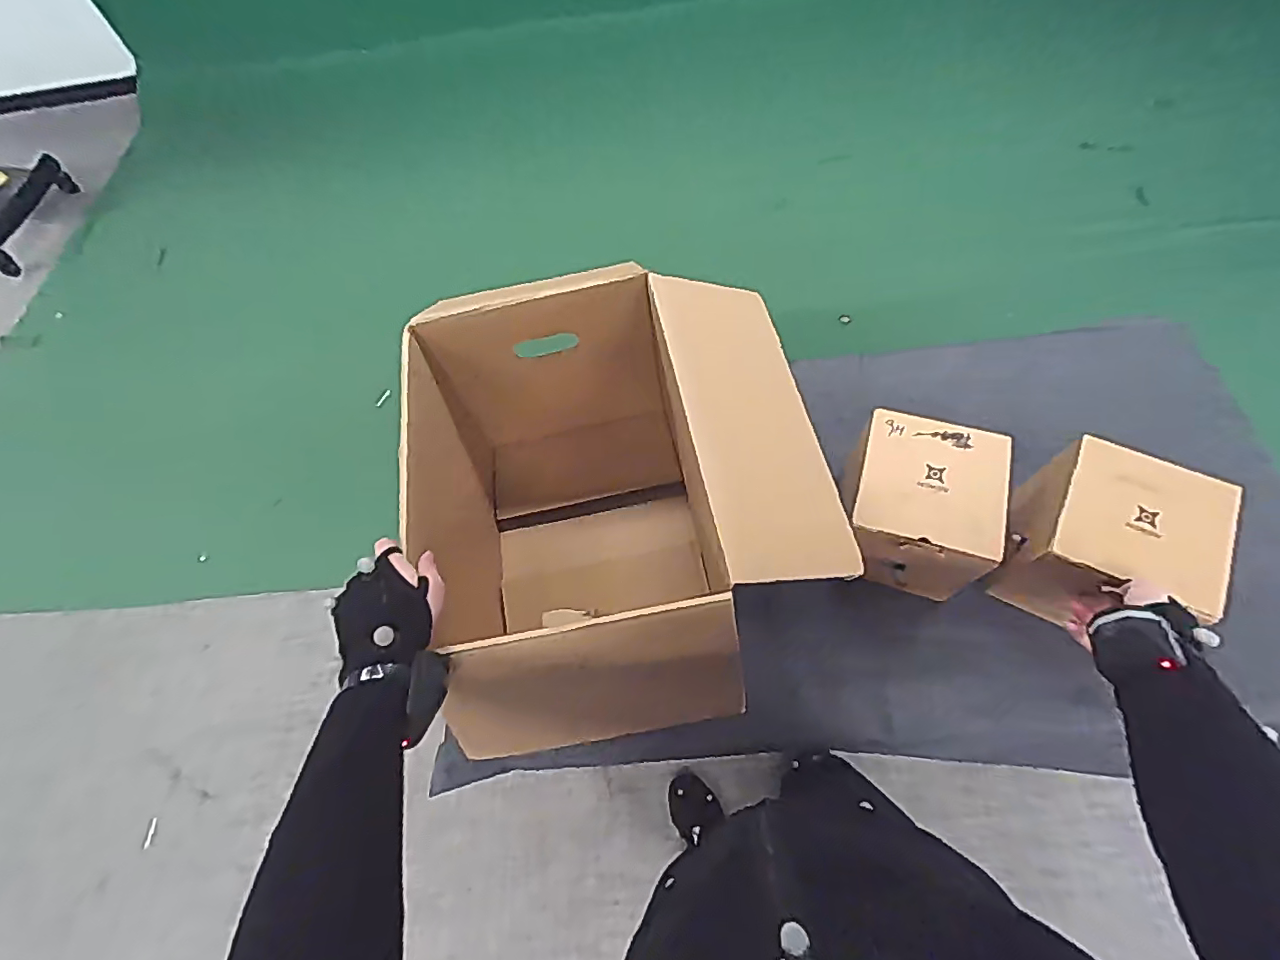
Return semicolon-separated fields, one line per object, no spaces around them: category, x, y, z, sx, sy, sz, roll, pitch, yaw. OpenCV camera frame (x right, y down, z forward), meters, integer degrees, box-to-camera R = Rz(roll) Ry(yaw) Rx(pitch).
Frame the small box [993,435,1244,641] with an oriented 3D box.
small box;0.583;0.081;0.682;0.168;0.176;0.179;25;69;17
